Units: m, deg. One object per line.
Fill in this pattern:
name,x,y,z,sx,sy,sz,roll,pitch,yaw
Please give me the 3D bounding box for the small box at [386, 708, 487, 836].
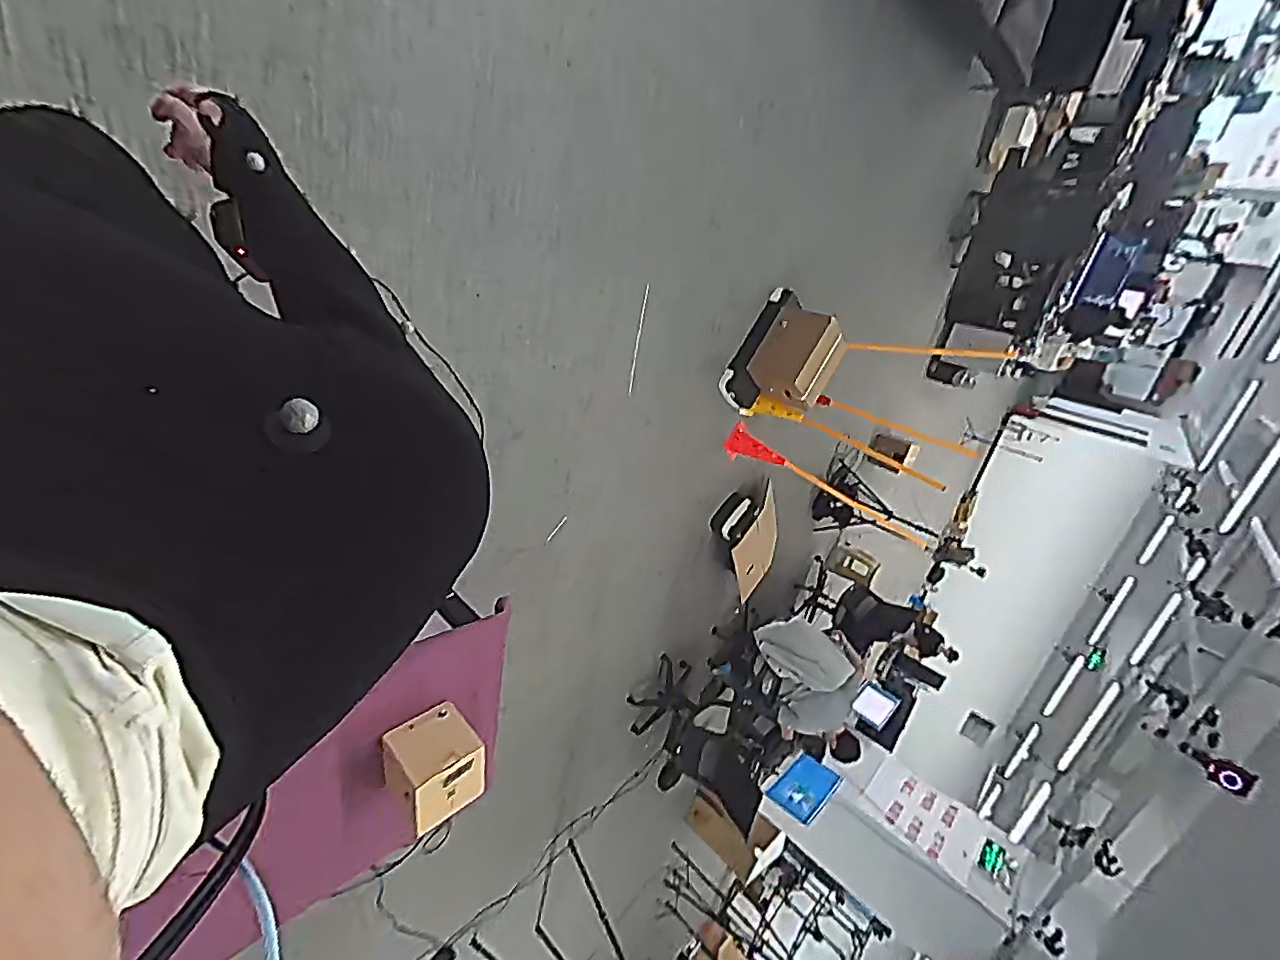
small box,-0.477,0.667,1.264,0.168,0.176,0.179,-18,127,-43
